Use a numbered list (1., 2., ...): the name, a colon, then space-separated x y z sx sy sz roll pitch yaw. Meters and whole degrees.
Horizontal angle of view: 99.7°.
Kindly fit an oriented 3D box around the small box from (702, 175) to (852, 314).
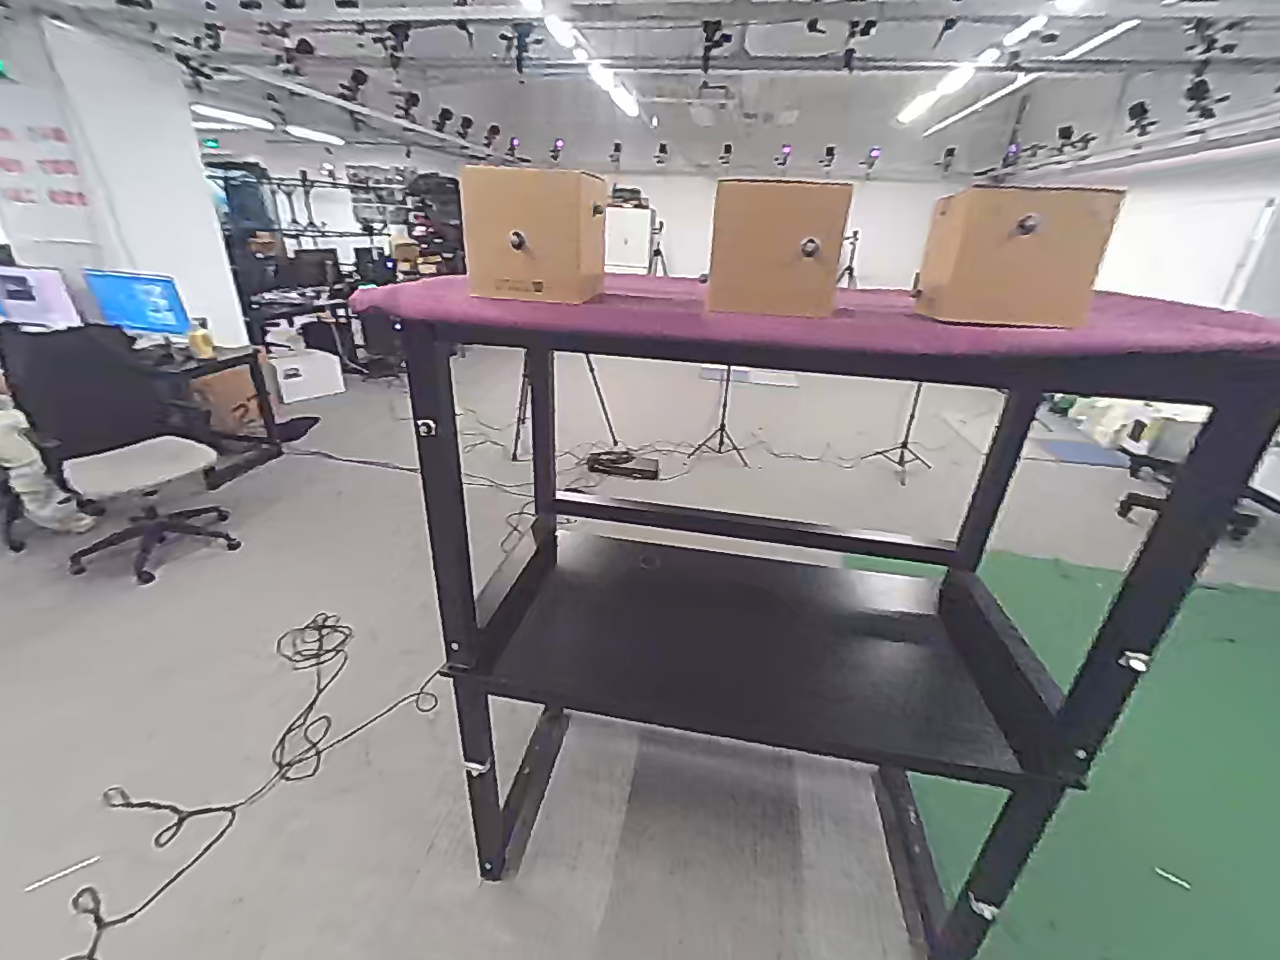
1. small box: 0.188 -0.338 0.785 0.179 0.176 0.168 5 25 7

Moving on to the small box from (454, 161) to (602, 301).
1. small box: -0.153 -0.366 0.802 0.168 0.176 0.179 7 26 6

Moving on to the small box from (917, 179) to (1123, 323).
1. small box: 0.510 -0.317 0.763 0.179 0.176 0.168 7 24 9
